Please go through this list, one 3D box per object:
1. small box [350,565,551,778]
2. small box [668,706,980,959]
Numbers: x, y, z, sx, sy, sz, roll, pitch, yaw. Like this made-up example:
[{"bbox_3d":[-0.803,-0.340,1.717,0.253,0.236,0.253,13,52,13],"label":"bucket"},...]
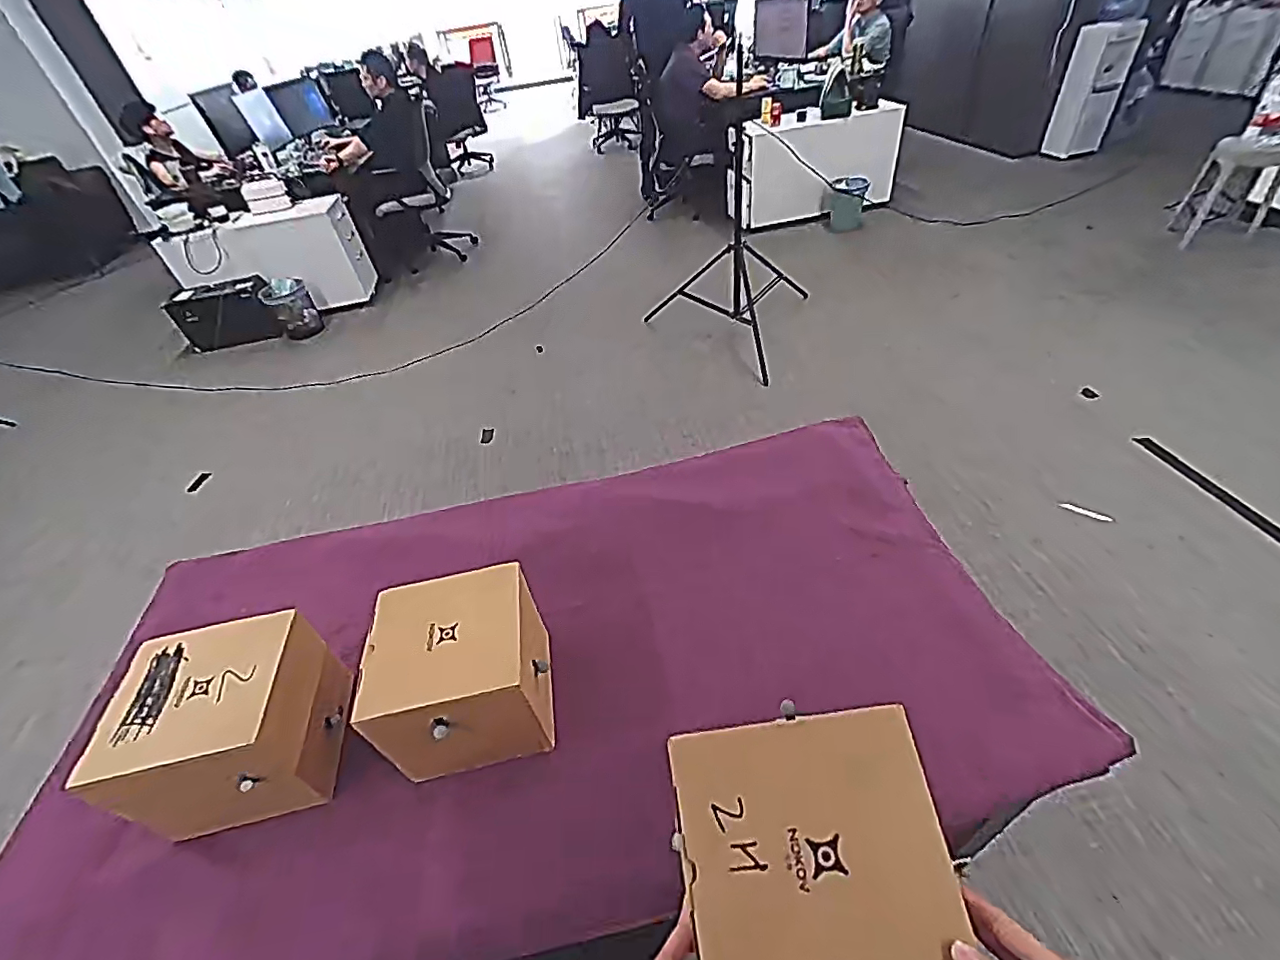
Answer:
[{"bbox_3d":[-0.209,0.232,0.654,0.179,0.176,0.168,-13,42,-3],"label":"small box"},{"bbox_3d":[0.124,0.280,0.434,0.179,0.176,0.168,-10,64,4],"label":"small box"}]
